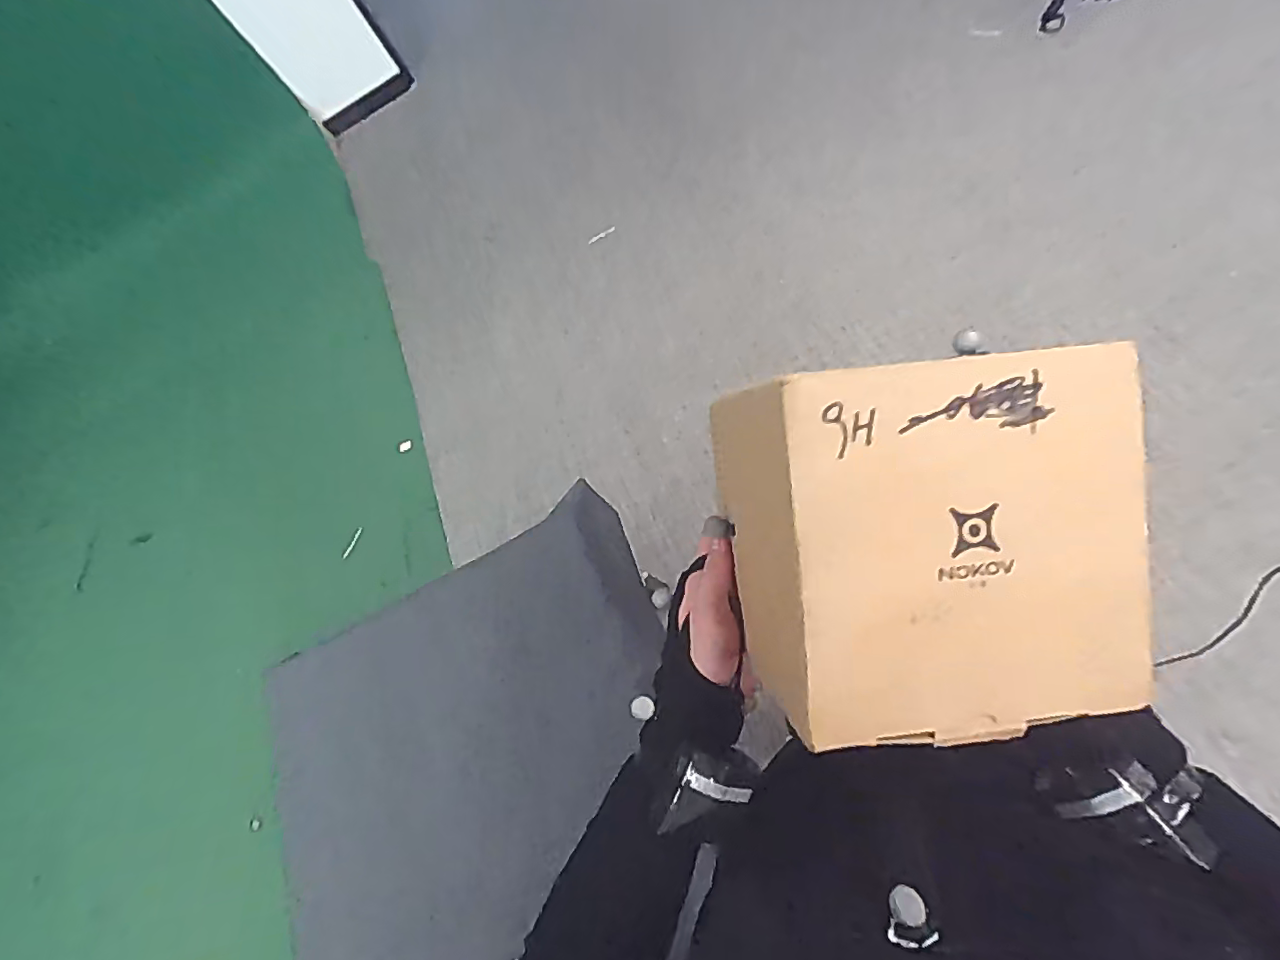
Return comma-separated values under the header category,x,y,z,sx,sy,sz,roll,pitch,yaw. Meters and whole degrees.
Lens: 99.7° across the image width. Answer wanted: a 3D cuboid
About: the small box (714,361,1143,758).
category,x,y,z,sx,sy,sz,roll,pitch,yaw
small box,0.146,0.030,0.329,0.168,0.176,0.179,-6,96,-4
